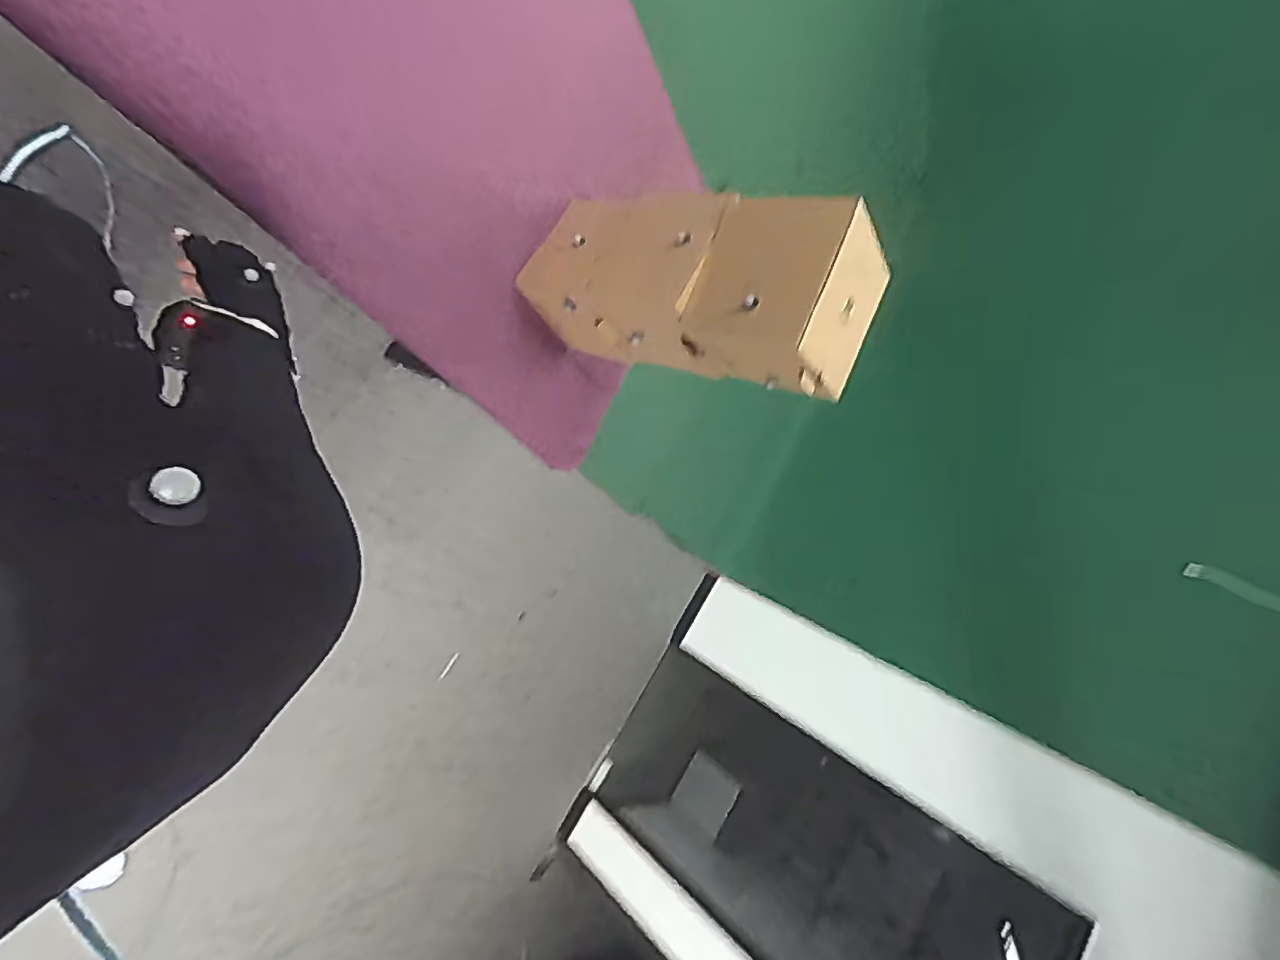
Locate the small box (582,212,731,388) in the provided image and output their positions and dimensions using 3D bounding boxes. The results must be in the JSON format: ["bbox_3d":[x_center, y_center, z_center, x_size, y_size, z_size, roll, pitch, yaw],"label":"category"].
[{"bbox_3d":[0.047,-0.264,0.790,0.179,0.176,0.168,-60,142,-9],"label":"small box"}]

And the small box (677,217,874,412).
[{"bbox_3d":[0.170,-0.211,0.696,0.168,0.176,0.179,23,90,-53],"label":"small box"}]
